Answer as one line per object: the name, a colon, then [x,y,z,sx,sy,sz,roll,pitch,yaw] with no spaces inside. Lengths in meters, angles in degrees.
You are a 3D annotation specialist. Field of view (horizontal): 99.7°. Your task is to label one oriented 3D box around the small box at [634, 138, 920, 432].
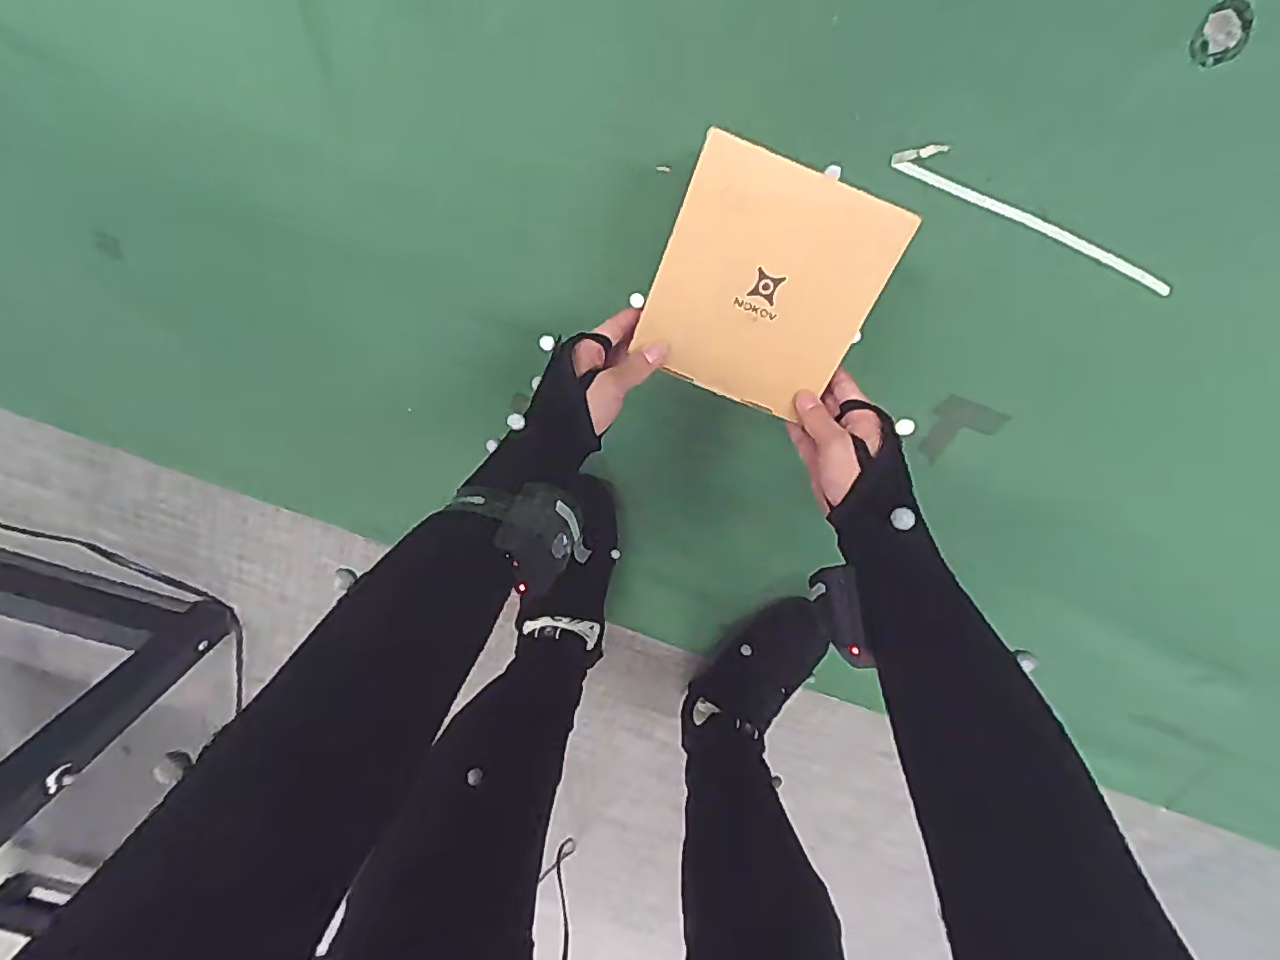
small box: [0.105,-0.177,0.490,0.168,0.176,0.179,21,119,-6]
